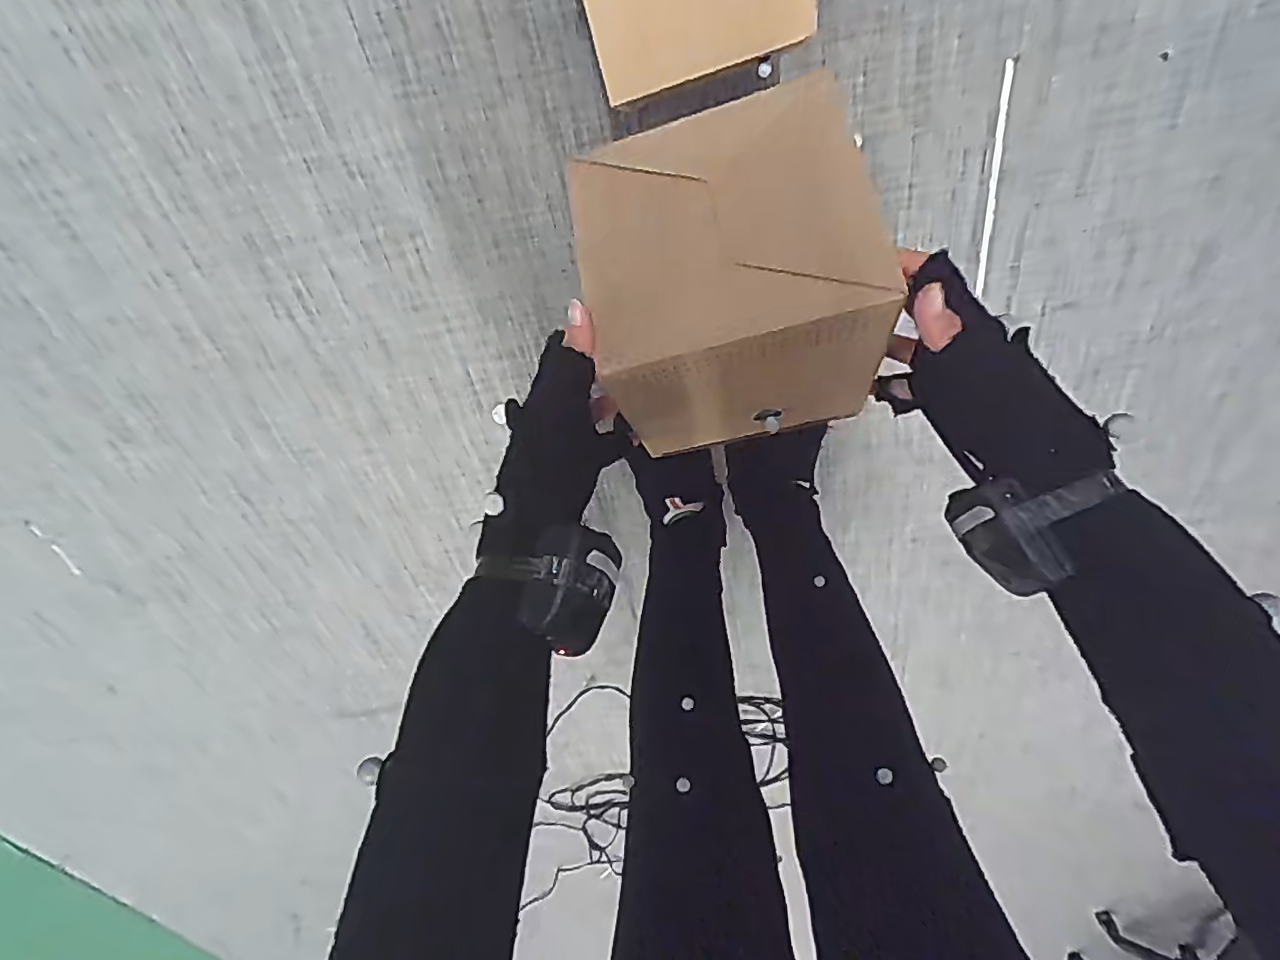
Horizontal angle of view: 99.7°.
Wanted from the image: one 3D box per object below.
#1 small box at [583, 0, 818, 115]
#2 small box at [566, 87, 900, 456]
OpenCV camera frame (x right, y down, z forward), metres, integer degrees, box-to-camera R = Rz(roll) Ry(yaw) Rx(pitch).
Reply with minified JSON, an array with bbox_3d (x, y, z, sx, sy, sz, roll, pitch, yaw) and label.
[{"bbox_3d":[0.040,-0.440,0.471,0.179,0.176,0.168,-14,121,9],"label":"small box"},{"bbox_3d":[0.064,-0.132,0.389,0.179,0.168,0.176,-11,163,10],"label":"small box"}]
